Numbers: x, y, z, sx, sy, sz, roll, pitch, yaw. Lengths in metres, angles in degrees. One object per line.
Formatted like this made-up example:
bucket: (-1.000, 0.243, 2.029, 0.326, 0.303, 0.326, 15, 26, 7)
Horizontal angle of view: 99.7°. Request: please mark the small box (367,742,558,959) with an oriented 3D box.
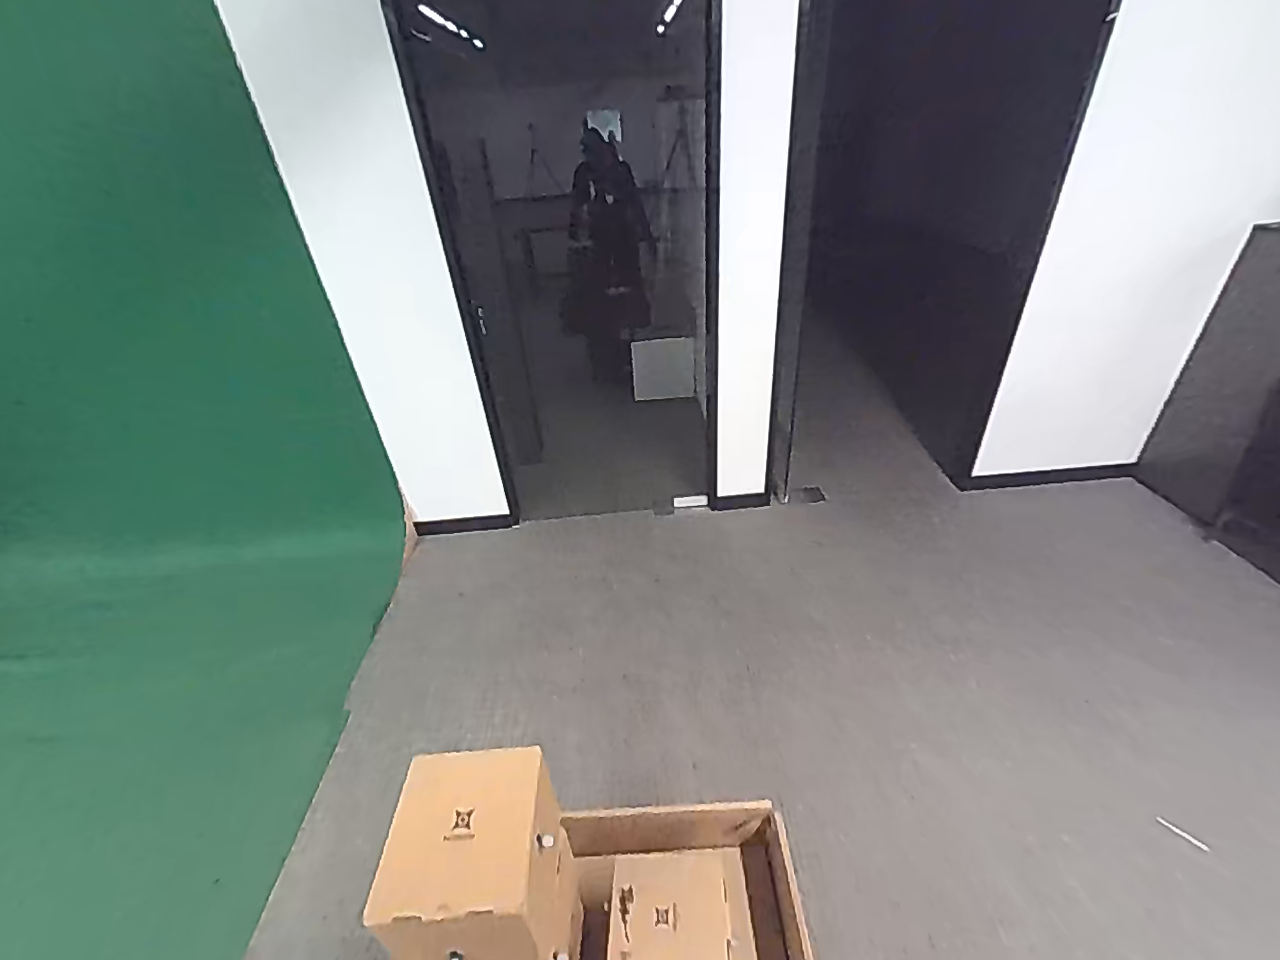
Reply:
small box: (-0.197, 0.453, 0.661, 0.168, 0.176, 0.179, -4, 33, 0)
